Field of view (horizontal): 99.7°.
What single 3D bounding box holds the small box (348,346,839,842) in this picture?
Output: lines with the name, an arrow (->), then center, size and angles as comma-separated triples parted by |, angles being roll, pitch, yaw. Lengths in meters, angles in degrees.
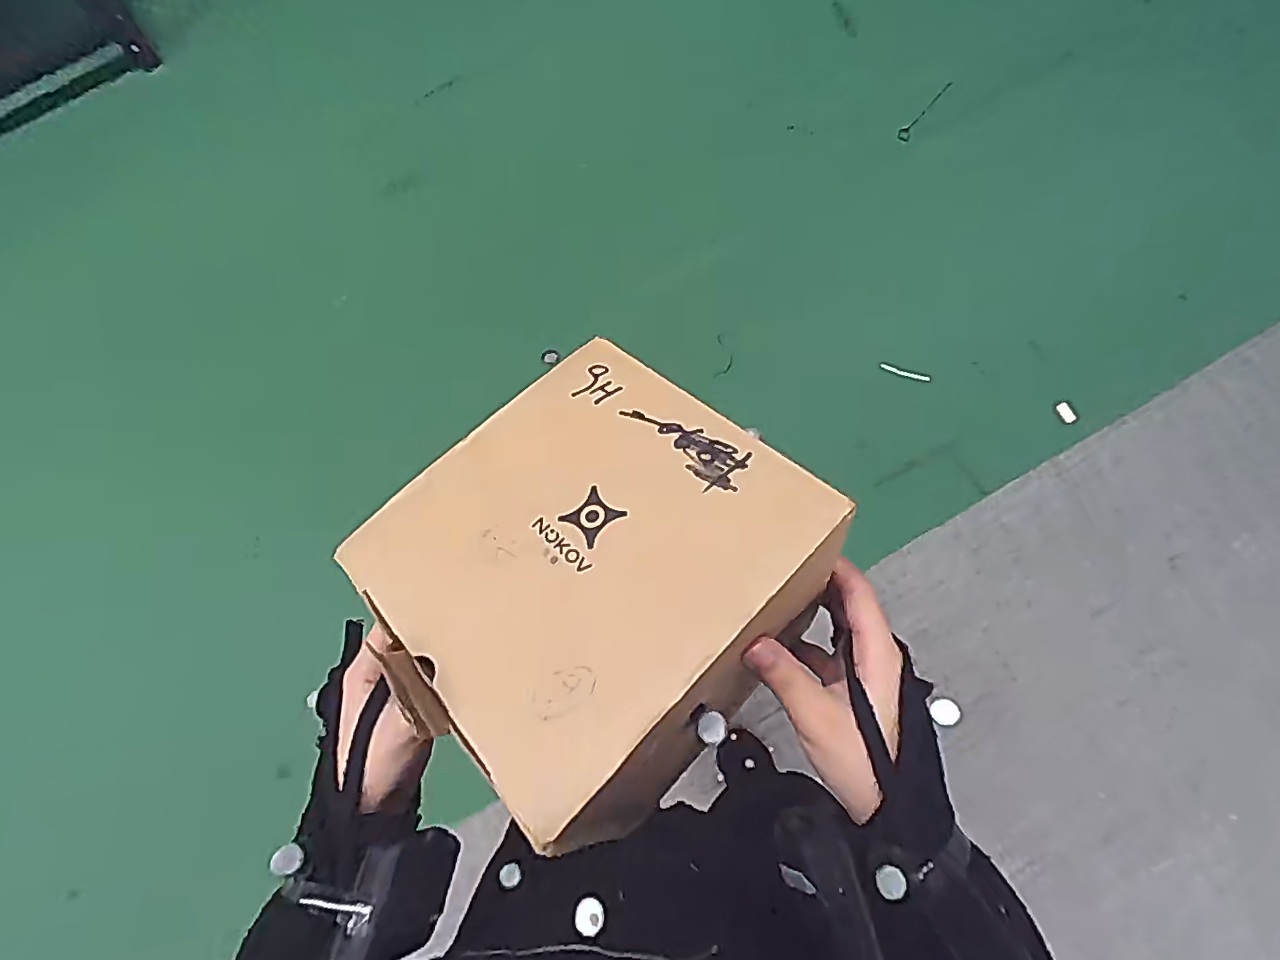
small box -> -0.013, 0.066, 0.312 | 0.179, 0.176, 0.168 | -44, 61, -14
